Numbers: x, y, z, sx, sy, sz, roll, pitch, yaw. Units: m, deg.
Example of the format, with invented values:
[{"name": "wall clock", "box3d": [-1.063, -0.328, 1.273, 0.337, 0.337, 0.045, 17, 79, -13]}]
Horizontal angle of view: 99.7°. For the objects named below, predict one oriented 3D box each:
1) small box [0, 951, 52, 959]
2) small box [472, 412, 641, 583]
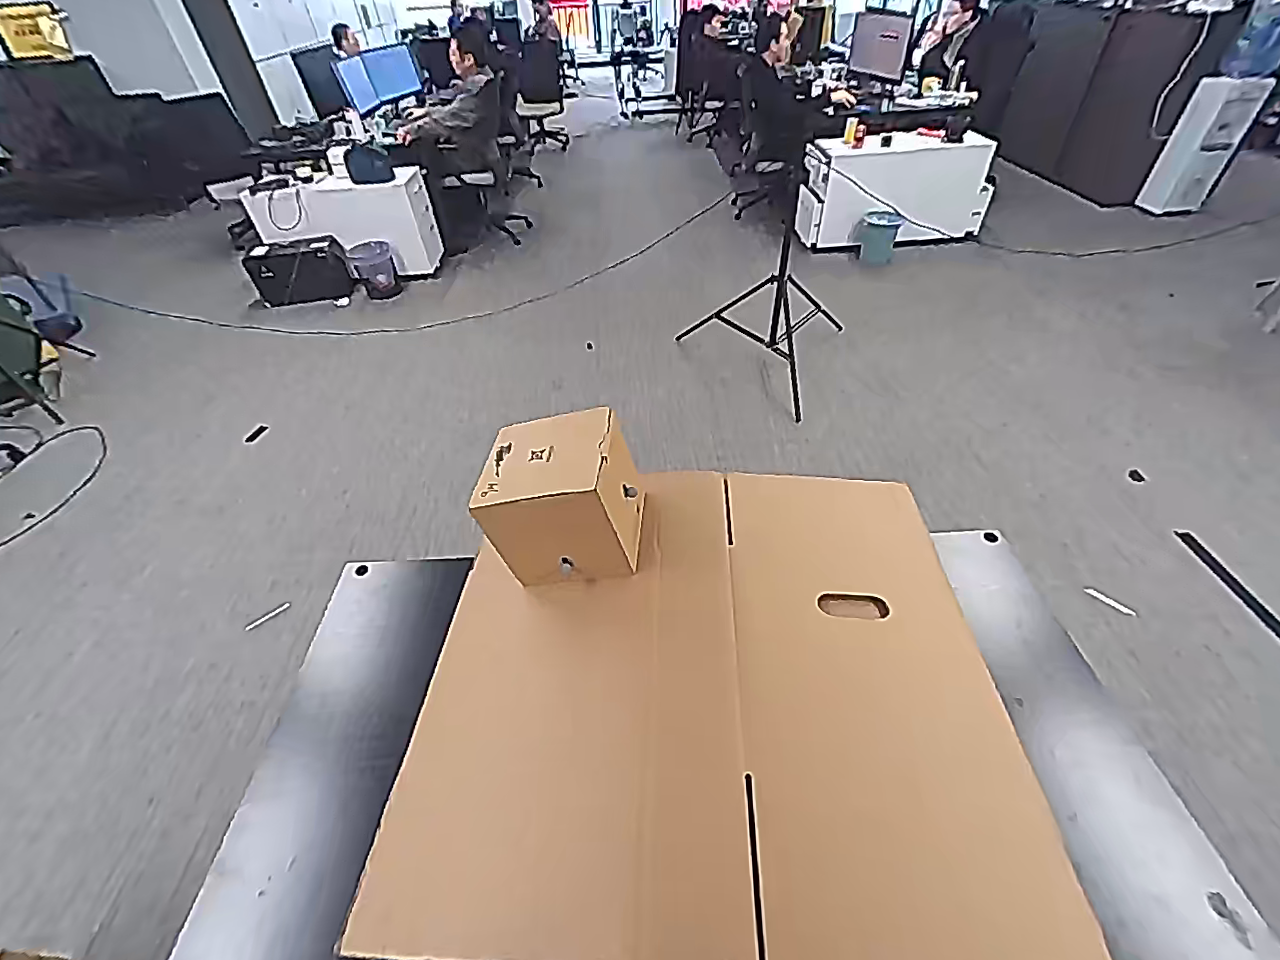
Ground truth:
[{"name": "small box", "box3d": [-1.170, 0.949, 0.933, 0.168, 0.176, 0.179, -8, 43, -5]}, {"name": "small box", "box3d": [-0.104, 0.029, 0.772, 0.179, 0.176, 0.168, -8, 42, 14]}]
